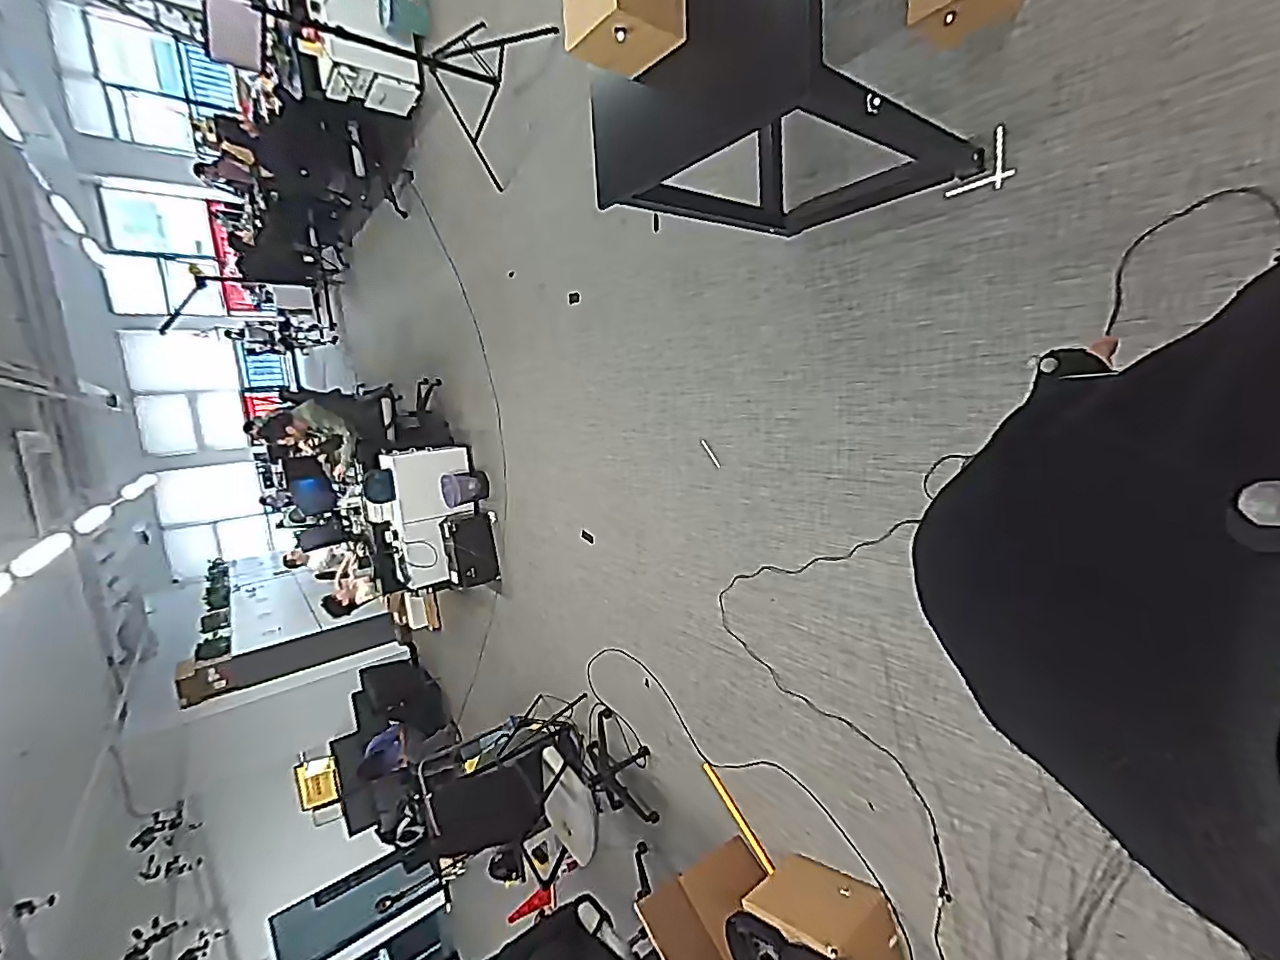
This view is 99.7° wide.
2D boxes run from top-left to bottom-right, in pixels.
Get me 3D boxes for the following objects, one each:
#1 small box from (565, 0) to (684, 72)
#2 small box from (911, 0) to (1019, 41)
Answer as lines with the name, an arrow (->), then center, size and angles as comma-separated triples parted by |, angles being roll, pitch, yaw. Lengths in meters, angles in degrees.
small box -> -0.027, -0.922, 1.028 | 0.179, 0.176, 0.168 | 13, 109, 51
small box -> 0.727, -1.128, 1.197 | 0.179, 0.176, 0.168 | 7, 105, 52
